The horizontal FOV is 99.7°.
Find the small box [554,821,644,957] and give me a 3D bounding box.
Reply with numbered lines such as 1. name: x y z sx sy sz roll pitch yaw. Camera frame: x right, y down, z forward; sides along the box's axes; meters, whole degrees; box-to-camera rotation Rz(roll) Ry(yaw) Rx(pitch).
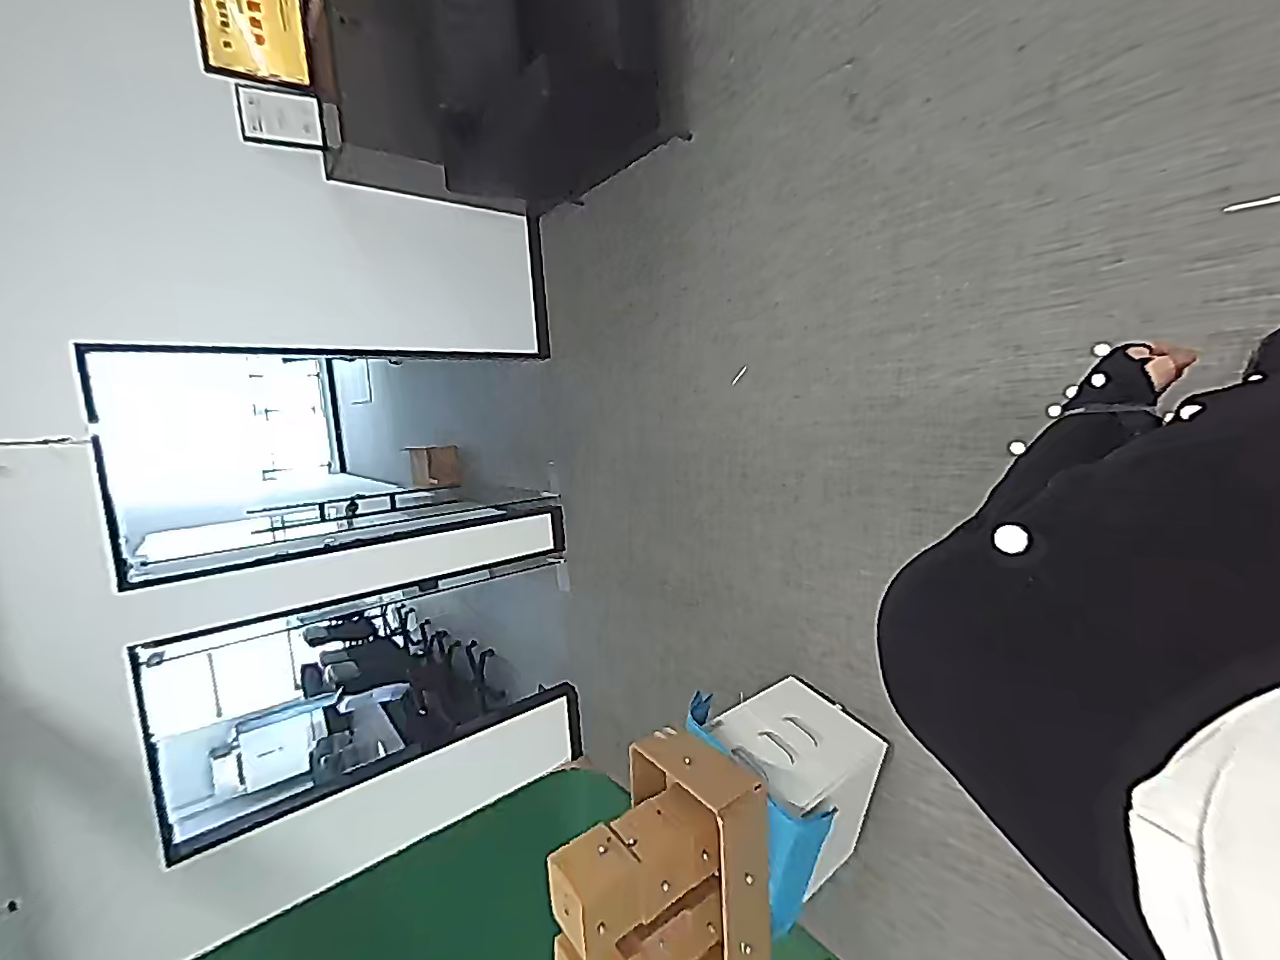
1. small box: -0.100 1.017 1.361 0.168 0.176 0.179 9 105 52

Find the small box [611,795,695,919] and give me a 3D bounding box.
1. small box: 0.035 1.002 1.455 0.168 0.176 0.179 6 104 52
